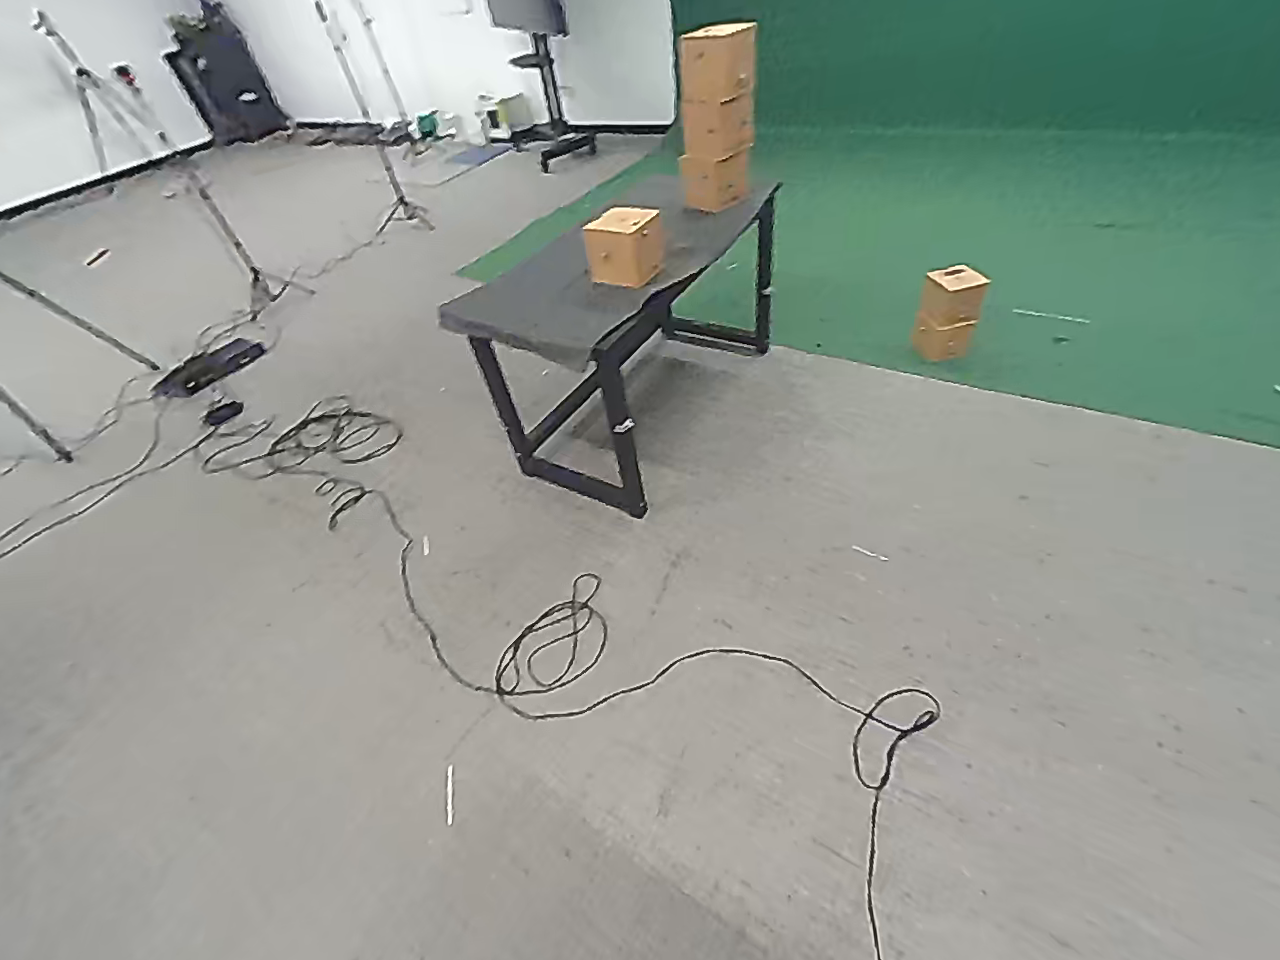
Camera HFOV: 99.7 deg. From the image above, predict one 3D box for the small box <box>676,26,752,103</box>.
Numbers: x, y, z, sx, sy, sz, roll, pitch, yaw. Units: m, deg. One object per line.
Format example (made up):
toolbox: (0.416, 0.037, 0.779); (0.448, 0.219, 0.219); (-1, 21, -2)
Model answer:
small box: (0.238, -1.321, 1.724); (0.179, 0.176, 0.168); (28, 57, 33)

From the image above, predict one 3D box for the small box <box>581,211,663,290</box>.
small box: (-0.050, -0.695, 1.639); (0.179, 0.176, 0.168); (19, 52, 28)

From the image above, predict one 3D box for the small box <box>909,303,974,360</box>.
small box: (1.302, -0.639, 2.350); (0.168, 0.176, 0.179); (-14, 45, -2)

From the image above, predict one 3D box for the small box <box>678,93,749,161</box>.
small box: (0.254, -1.203, 1.838); (0.168, 0.176, 0.179); (-37, 48, -24)

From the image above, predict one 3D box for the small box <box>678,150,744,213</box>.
small box: (0.260, -1.081, 1.947); (0.168, 0.176, 0.179); (-33, 47, -20)
